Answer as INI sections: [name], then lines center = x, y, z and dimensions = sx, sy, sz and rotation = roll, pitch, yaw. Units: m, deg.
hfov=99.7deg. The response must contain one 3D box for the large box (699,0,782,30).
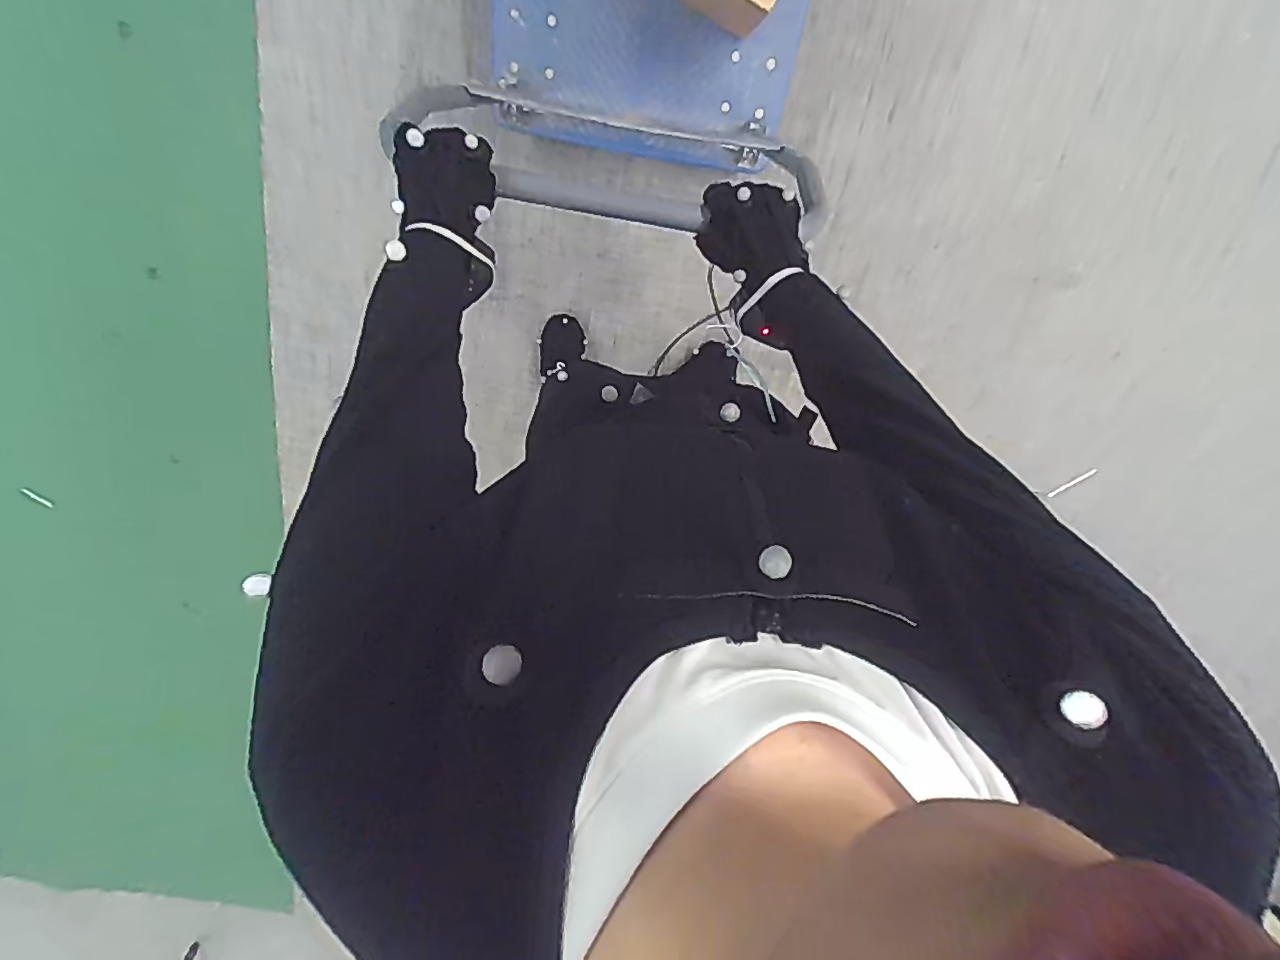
[large box]
center = 0.085, -0.932, 0.770
dimensions = 0.408, 0.320, 0.320
rotation = 23, 122, -11
